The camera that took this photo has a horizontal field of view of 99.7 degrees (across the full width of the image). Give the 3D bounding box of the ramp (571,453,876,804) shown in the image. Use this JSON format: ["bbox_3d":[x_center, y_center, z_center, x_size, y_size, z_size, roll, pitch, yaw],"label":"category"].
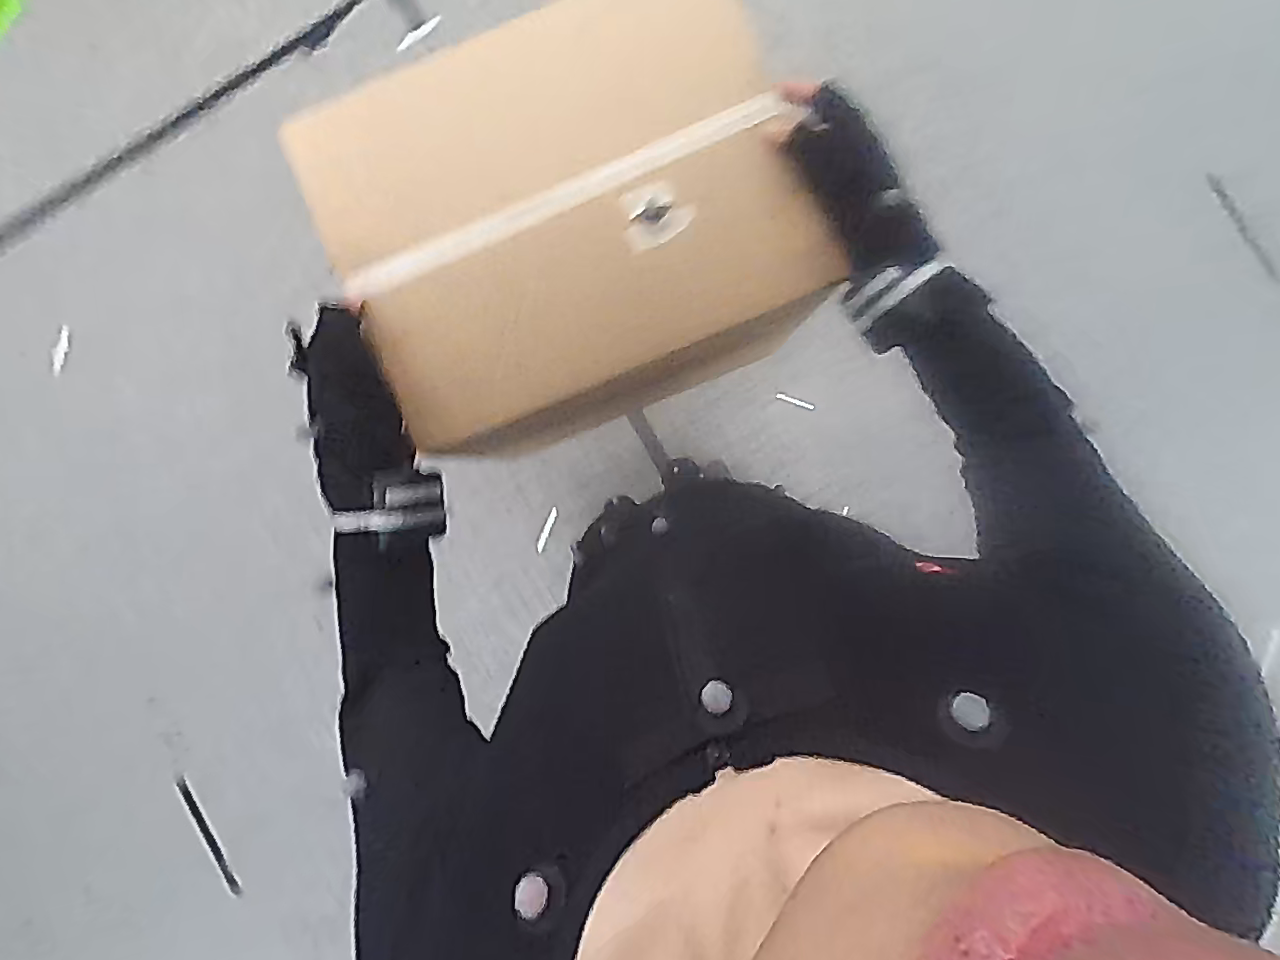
[{"bbox_3d":[0.268,0.461,1.582,0.509,0.206,0.991,-33,89,1],"label":"ramp"}]

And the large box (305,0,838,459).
[{"bbox_3d":[-0.062,-0.246,0.628,0.408,0.320,0.320,-23,90,1],"label":"large box"}]
